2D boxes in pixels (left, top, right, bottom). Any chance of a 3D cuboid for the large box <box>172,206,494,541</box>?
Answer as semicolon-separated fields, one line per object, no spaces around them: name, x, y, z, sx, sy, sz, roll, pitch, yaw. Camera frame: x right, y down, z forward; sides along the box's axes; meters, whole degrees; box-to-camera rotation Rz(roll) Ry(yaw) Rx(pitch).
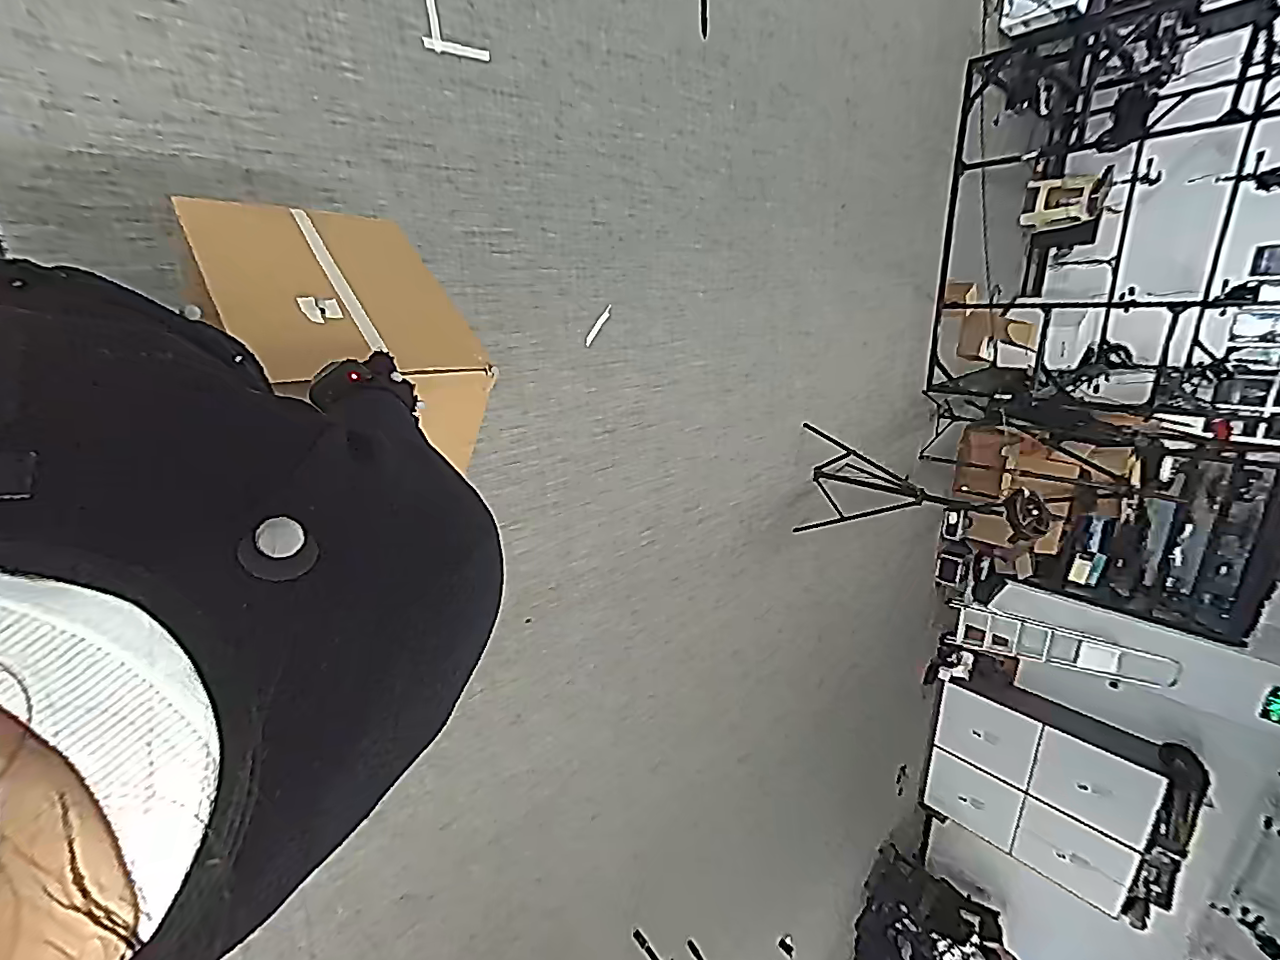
large box;-0.505;-0.175;0.886;0.320;0.408;0.320;-16;150;-42
